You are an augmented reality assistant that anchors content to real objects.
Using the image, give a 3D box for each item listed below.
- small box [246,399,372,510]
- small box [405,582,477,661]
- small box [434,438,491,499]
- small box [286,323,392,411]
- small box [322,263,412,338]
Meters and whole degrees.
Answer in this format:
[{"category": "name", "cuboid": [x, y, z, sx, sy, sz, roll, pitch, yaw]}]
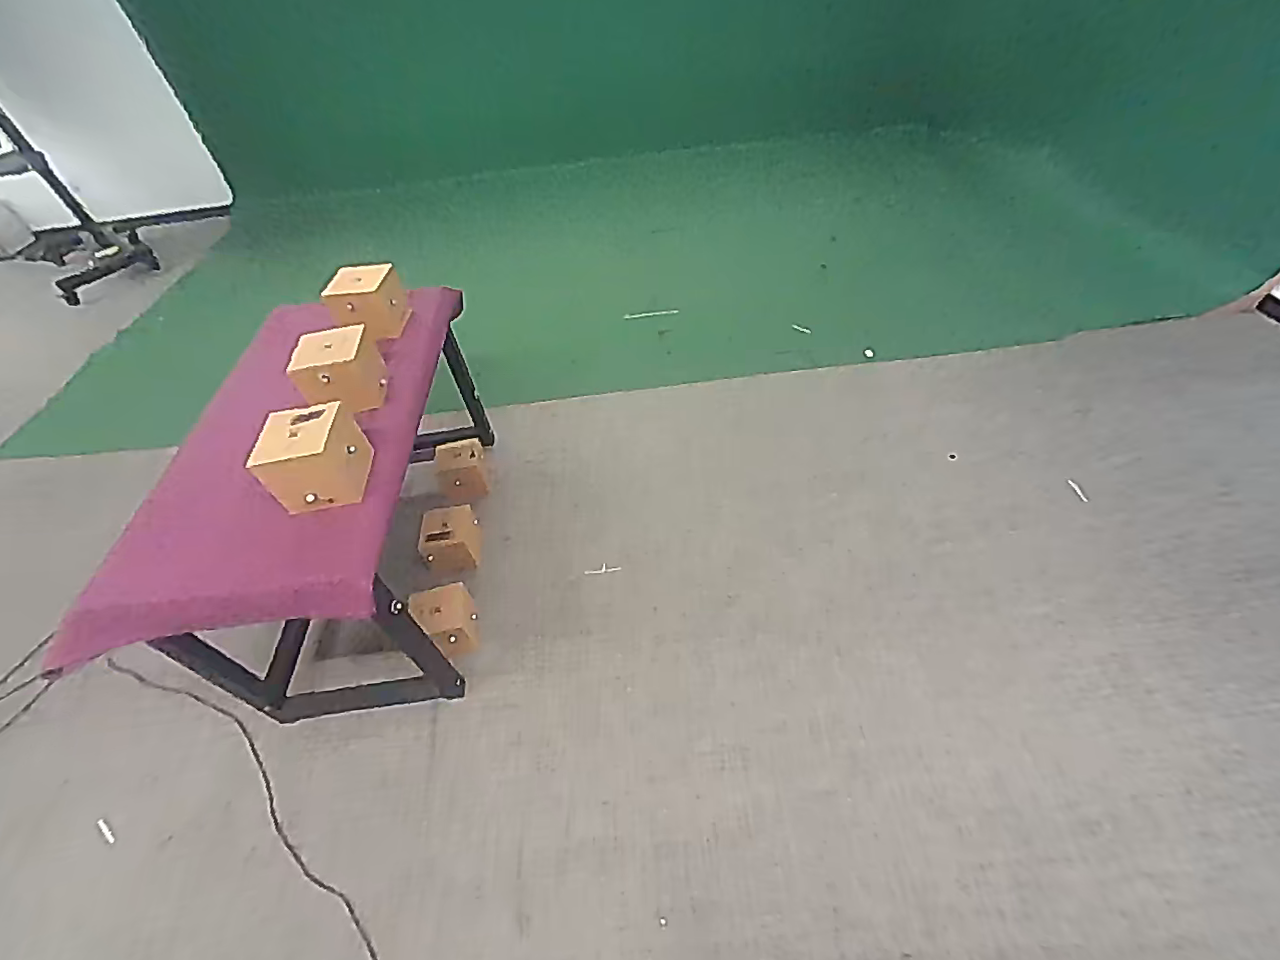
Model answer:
[{"category": "small box", "cuboid": [-0.740, -0.056, 1.235, 0.168, 0.176, 0.179, -10, 48, -1]}, {"category": "small box", "cuboid": [-0.632, 0.459, 1.740, 0.179, 0.176, 0.168, -13, 48, -5]}, {"category": "small box", "cuboid": [-0.721, -0.043, 2.208, 0.179, 0.176, 0.168, -12, 47, -4]}, {"category": "small box", "cuboid": [-0.806, -0.296, 1.465, 0.179, 0.176, 0.168, -10, 48, -2]}, {"category": "small box", "cuboid": [-0.853, -0.562, 1.713, 0.179, 0.176, 0.168, -3, 48, 6]}]
